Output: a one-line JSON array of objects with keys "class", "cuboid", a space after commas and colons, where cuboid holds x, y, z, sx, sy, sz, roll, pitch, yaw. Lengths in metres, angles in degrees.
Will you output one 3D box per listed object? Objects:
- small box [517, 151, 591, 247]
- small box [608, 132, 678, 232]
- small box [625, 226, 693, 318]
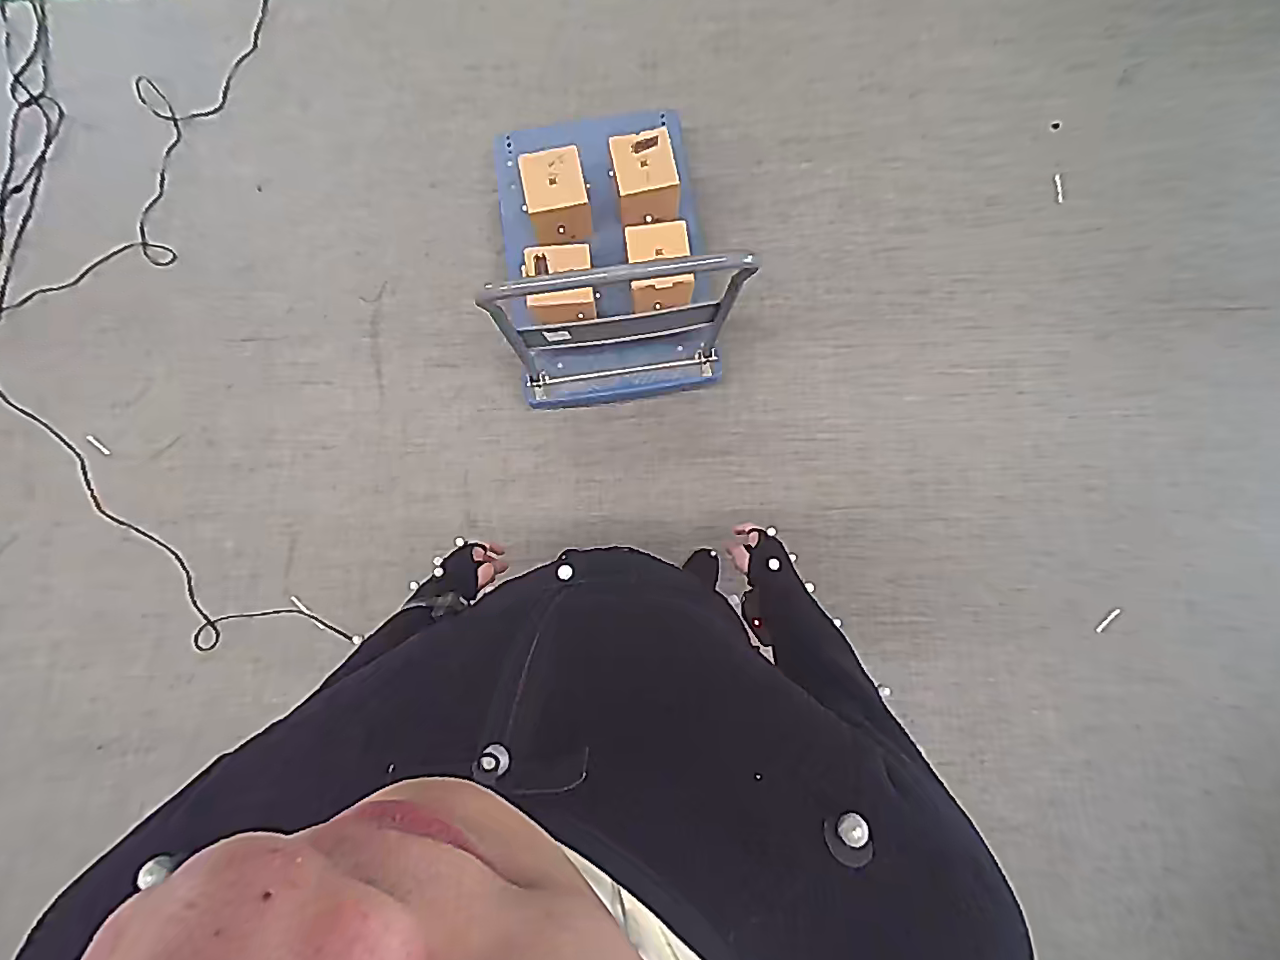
[{"class": "small box", "cuboid": [-0.239, -0.786, 1.534, 0.168, 0.176, 0.179, -11, 83, -2]}, {"class": "small box", "cuboid": [0.008, -0.840, 1.541, 0.168, 0.176, 0.179, -12, 84, -1]}, {"class": "small box", "cuboid": [0.048, -0.574, 1.507, 0.168, 0.176, 0.179, -7, 83, -1]}]
